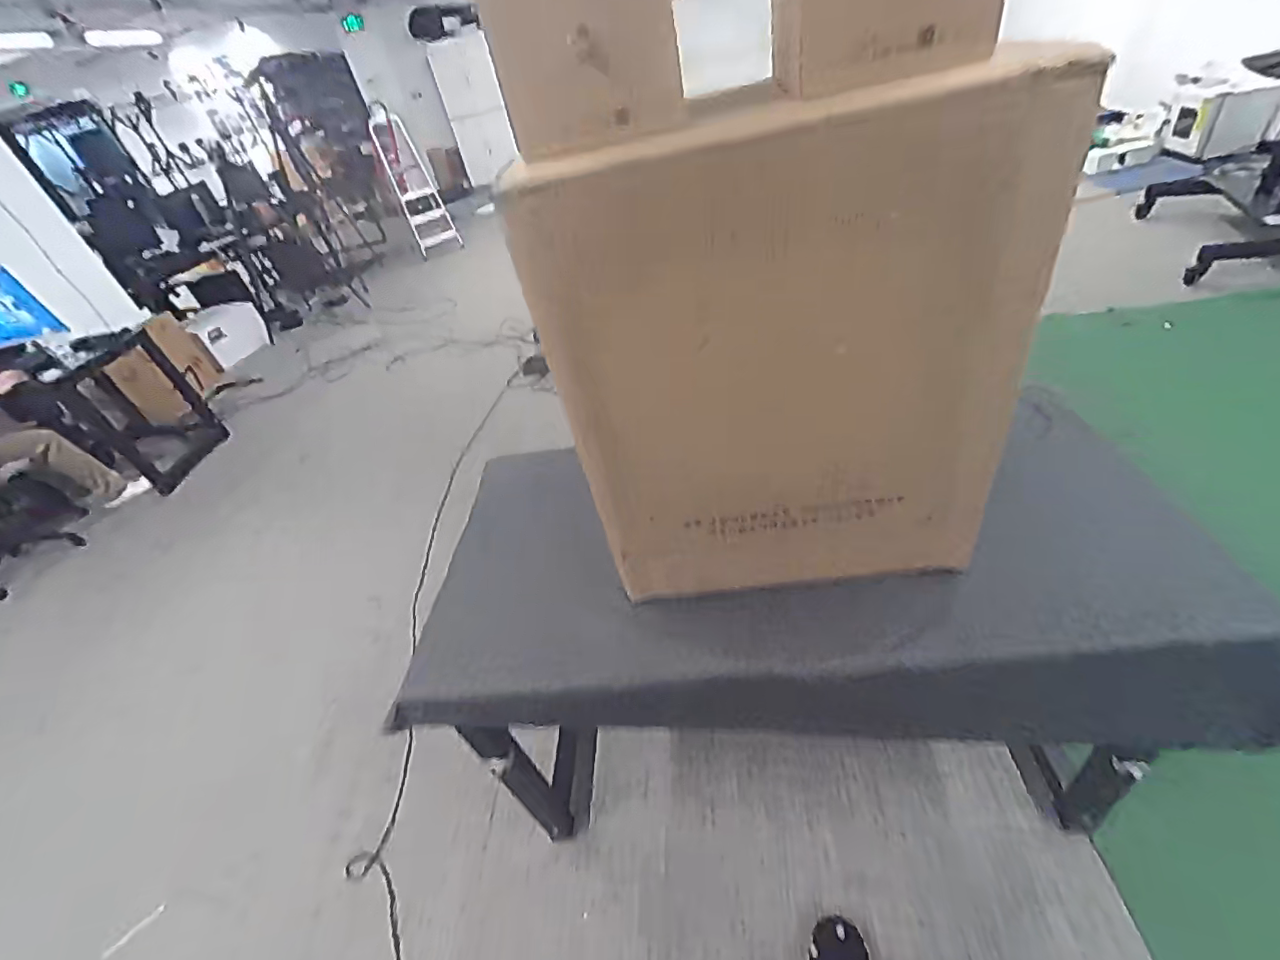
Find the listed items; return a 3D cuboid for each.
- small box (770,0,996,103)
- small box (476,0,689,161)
[{"bbox_3d":[0.214,-0.464,0.495,0.168,0.176,0.179,-6,40,7],"label":"small box"},{"bbox_3d":[-0.045,-0.435,0.534,0.168,0.176,0.179,-7,42,8],"label":"small box"}]
